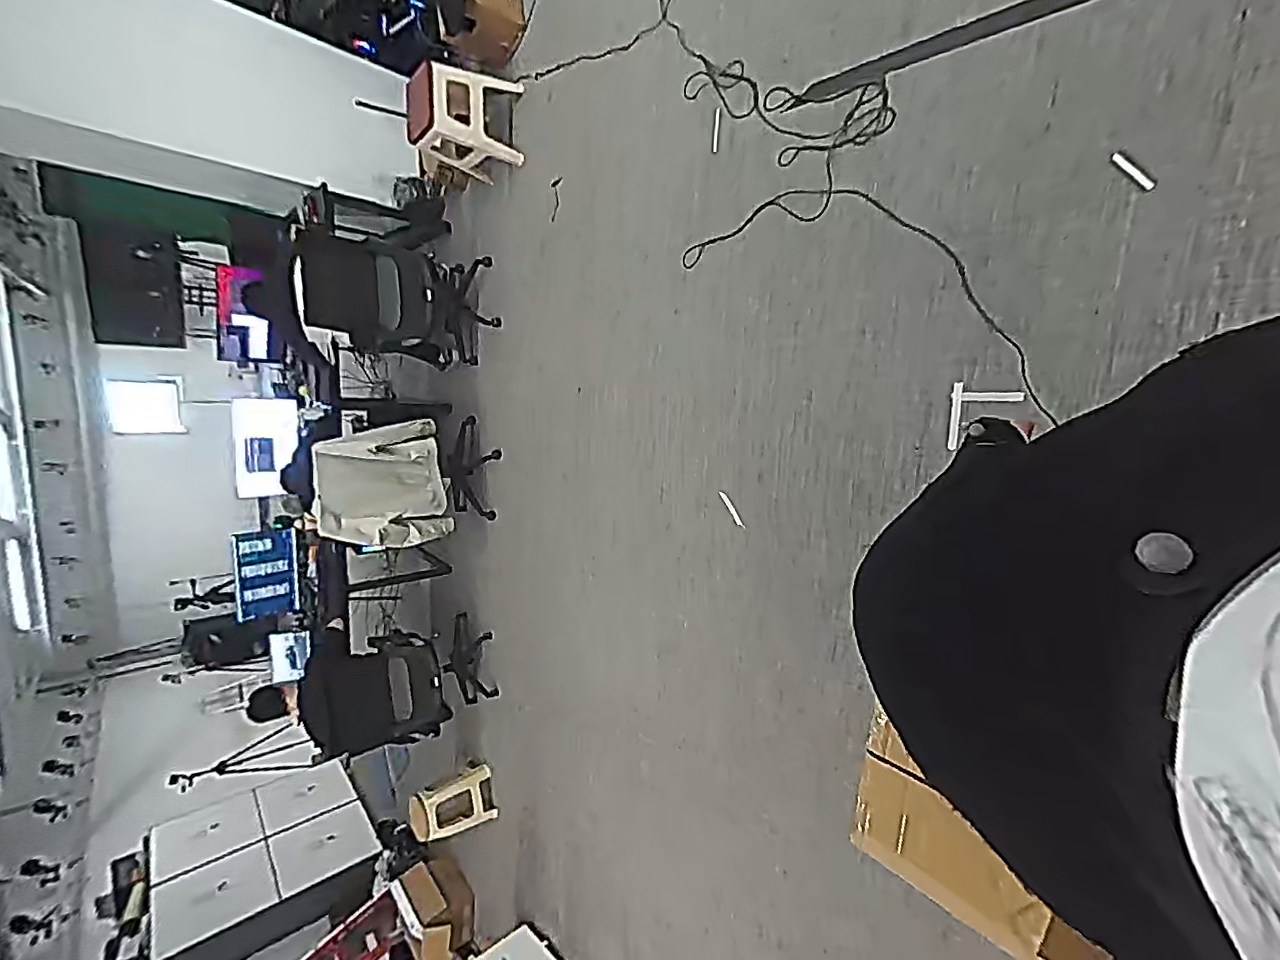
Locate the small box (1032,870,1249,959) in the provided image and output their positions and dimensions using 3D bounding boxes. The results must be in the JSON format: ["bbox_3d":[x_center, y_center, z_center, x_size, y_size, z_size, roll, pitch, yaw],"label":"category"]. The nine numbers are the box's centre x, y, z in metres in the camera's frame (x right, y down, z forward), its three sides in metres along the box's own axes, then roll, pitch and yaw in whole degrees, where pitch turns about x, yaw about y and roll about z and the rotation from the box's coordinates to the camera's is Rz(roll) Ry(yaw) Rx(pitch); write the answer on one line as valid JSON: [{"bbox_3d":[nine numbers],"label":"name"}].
[{"bbox_3d":[0.488,0.533,0.519,0.179,0.176,0.168,15,103,48],"label":"small box"}]
